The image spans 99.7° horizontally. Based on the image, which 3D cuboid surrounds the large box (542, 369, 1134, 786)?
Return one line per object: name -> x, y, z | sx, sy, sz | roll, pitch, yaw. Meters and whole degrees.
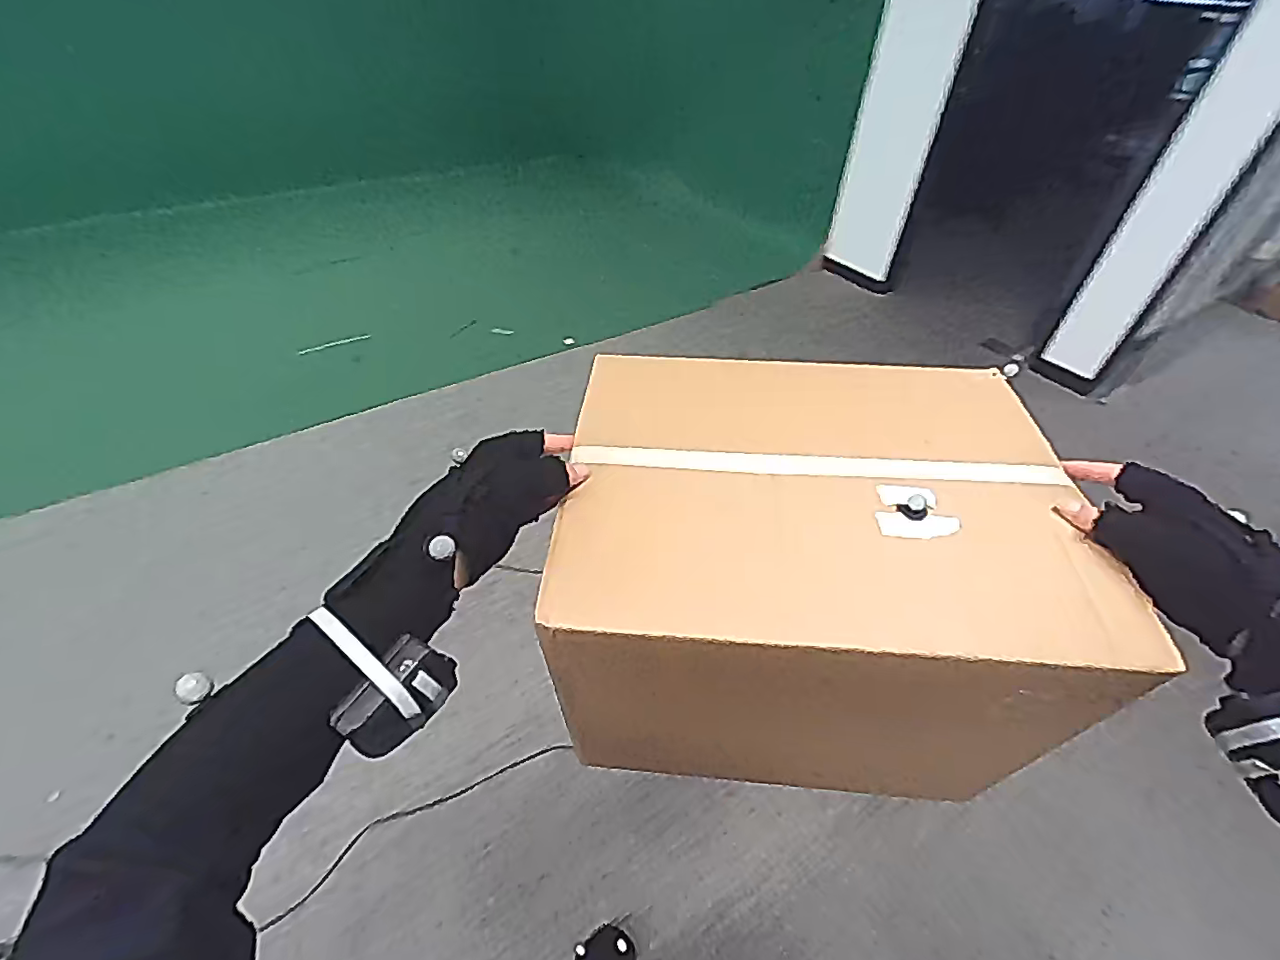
large box -> 0.136, 0.101, 0.569 | 0.408, 0.320, 0.320 | 3, 47, 3
